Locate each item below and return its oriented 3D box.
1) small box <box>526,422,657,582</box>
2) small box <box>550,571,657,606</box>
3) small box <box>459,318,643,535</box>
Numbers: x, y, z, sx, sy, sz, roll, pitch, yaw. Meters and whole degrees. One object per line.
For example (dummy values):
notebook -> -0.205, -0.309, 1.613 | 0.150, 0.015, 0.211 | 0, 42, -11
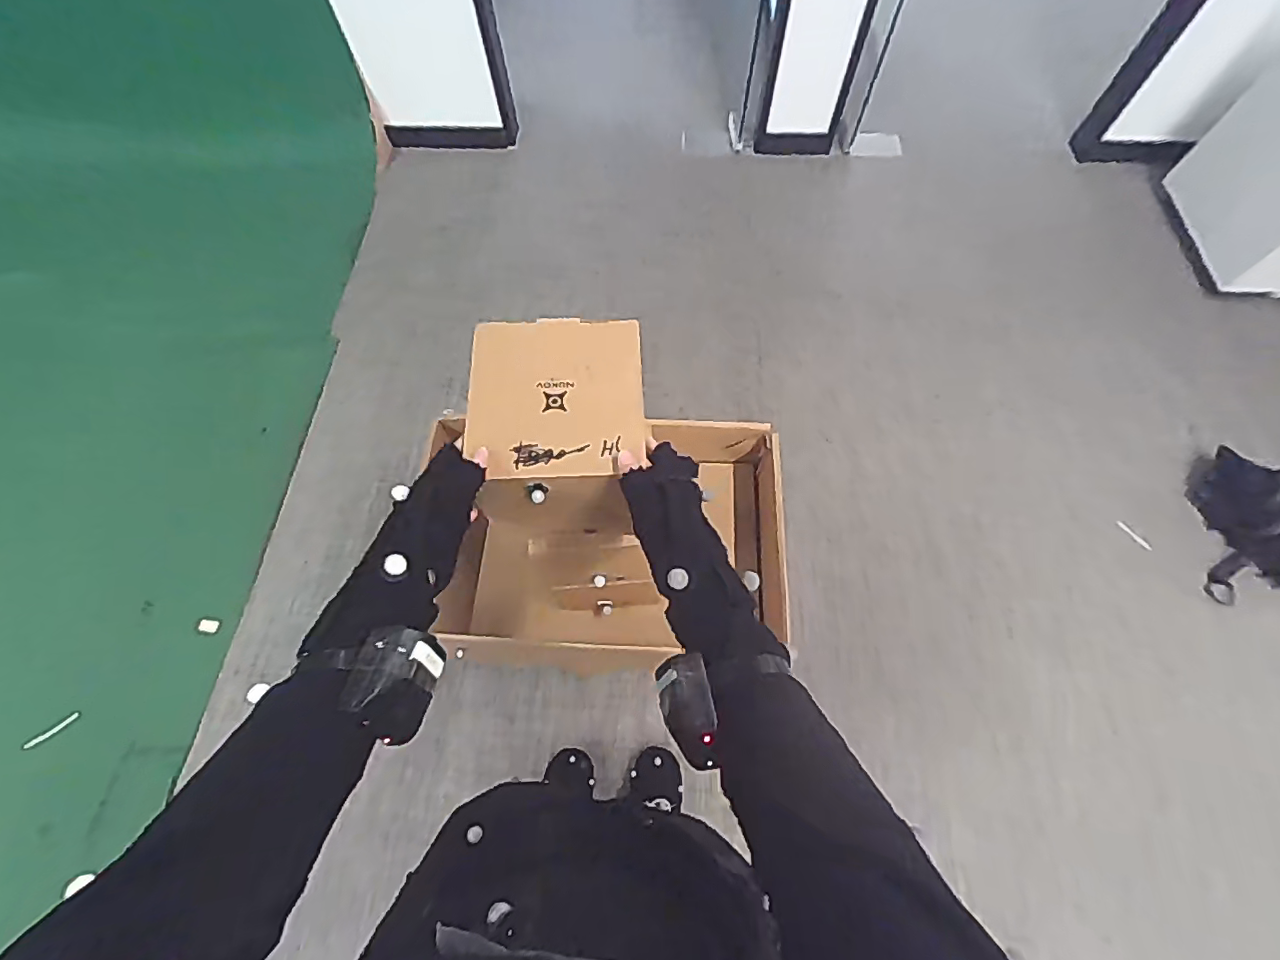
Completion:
small box -> -0.062, 0.037, 0.780 | 0.168, 0.176, 0.179 | -4, 65, 1
small box -> -0.058, 0.109, 0.927 | 0.168, 0.176, 0.179 | -4, 66, 1
small box -> -0.084, -0.052, 0.587 | 0.168, 0.176, 0.179 | -2, 65, -2
